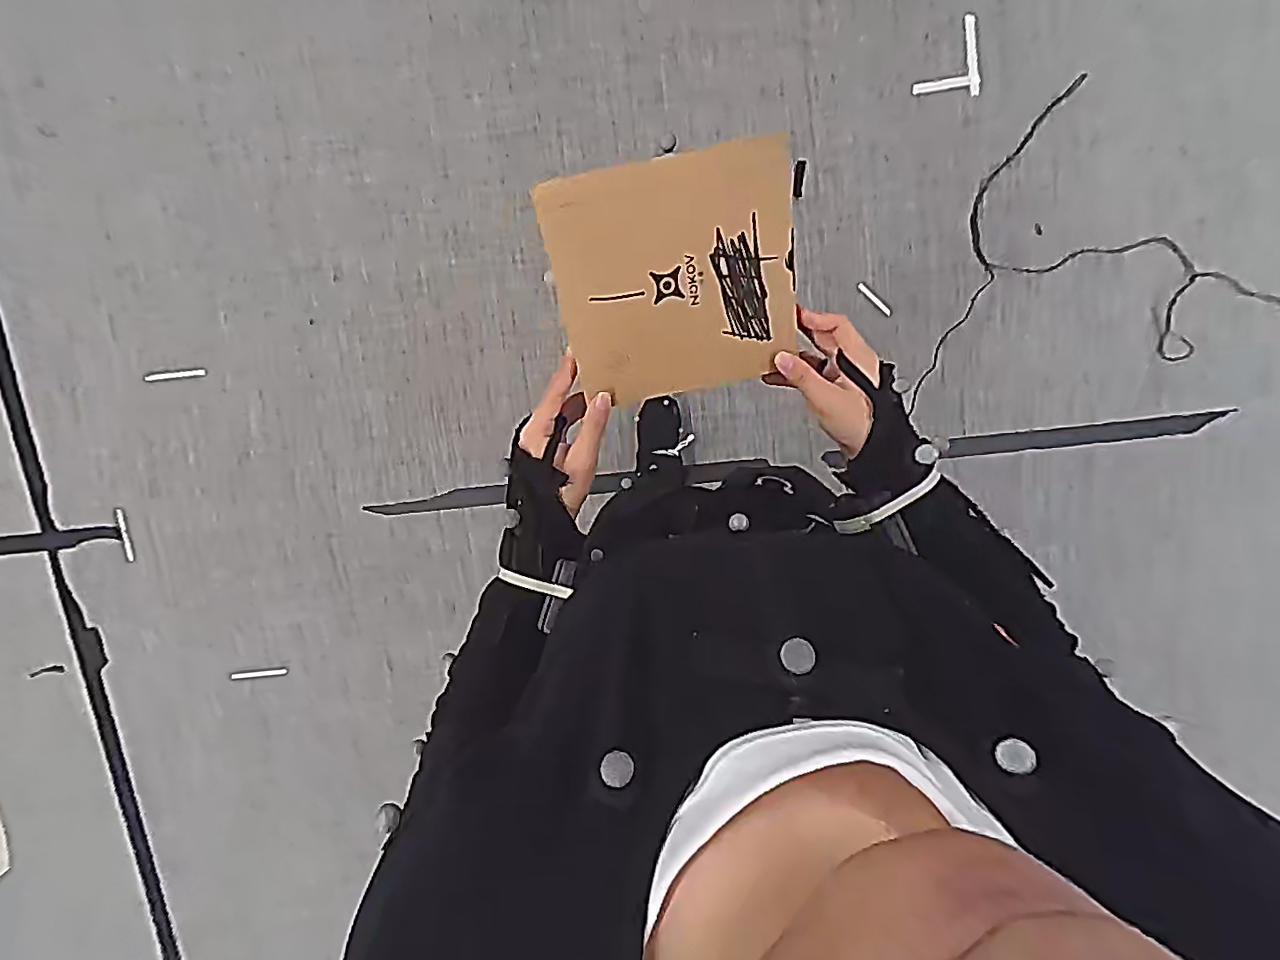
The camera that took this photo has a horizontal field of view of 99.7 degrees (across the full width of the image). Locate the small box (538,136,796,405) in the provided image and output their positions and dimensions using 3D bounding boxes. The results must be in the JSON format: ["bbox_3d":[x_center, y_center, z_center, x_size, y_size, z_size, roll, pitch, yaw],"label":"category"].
[{"bbox_3d":[0.021,-0.185,0.469,0.179,0.176,0.168,-12,119,1],"label":"small box"}]
